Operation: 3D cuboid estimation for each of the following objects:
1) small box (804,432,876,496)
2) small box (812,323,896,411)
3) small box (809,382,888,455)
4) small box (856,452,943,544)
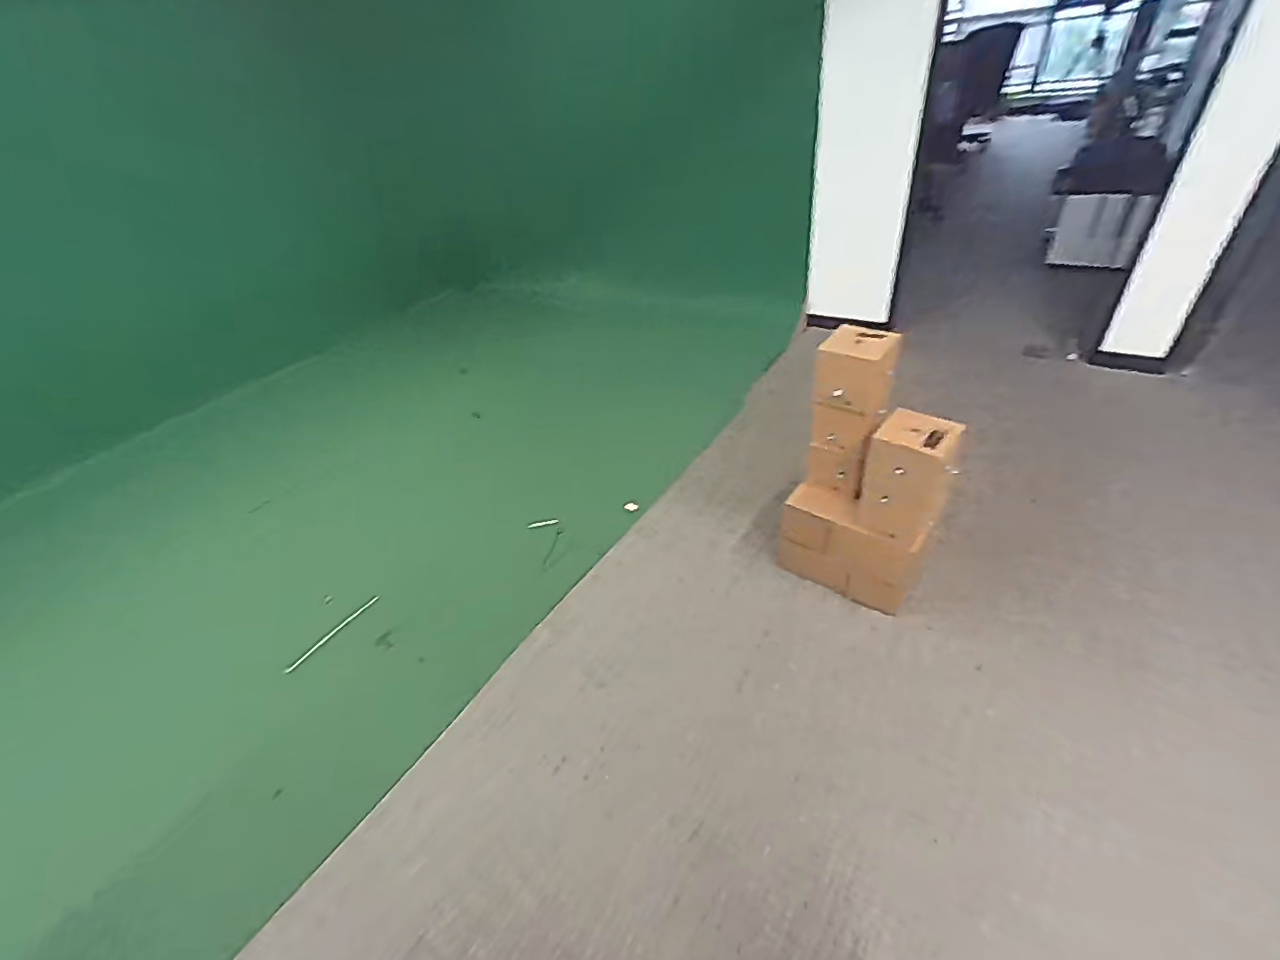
[{"bbox_3d":[0.640,-0.076,1.743,0.168,0.176,0.179,22,47,33],"label":"small box"},{"bbox_3d":[0.599,-0.322,1.531,0.168,0.176,0.179,22,49,33],"label":"small box"},{"bbox_3d":[0.626,-0.203,1.641,0.168,0.176,0.179,22,49,33],"label":"small box"},{"bbox_3d":[0.742,0.051,1.561,0.168,0.176,0.179,24,48,34],"label":"small box"}]
